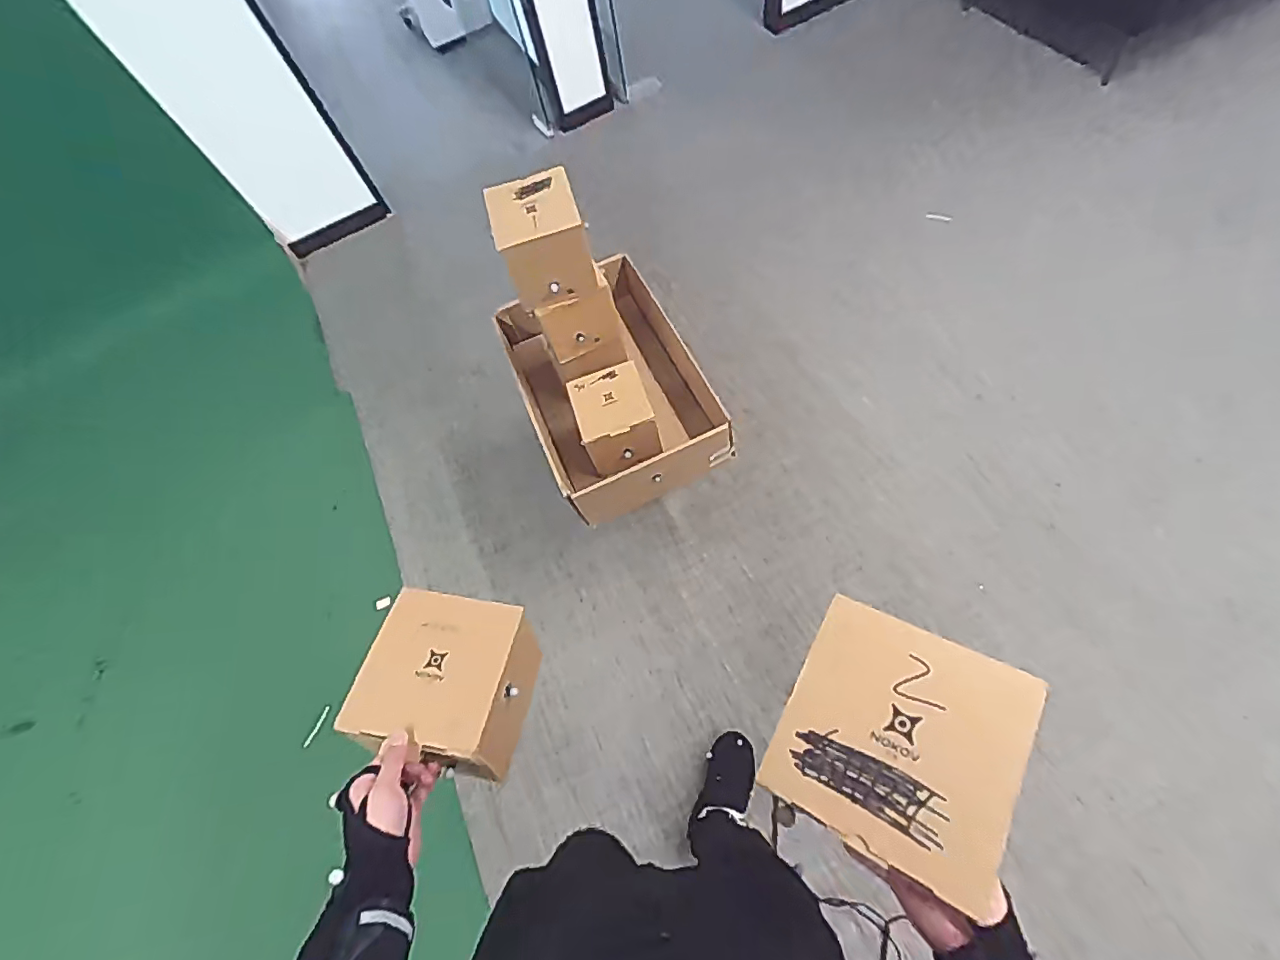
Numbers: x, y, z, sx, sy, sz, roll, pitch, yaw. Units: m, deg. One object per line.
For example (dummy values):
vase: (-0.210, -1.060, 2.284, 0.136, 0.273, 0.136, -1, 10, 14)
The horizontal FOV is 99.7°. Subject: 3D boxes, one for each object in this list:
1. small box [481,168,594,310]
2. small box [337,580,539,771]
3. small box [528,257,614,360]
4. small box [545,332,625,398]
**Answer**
small box: (-0.203, -0.479, 1.089, 0.168, 0.176, 0.179, -17, 65, 0)
small box: (-0.240, 0.257, 0.700, 0.168, 0.176, 0.179, 9, 52, 7)
small box: (-0.174, -0.409, 1.235, 0.168, 0.176, 0.179, -26, 65, -4)
small box: (-0.153, -0.344, 1.382, 0.168, 0.176, 0.179, -26, 64, -3)
